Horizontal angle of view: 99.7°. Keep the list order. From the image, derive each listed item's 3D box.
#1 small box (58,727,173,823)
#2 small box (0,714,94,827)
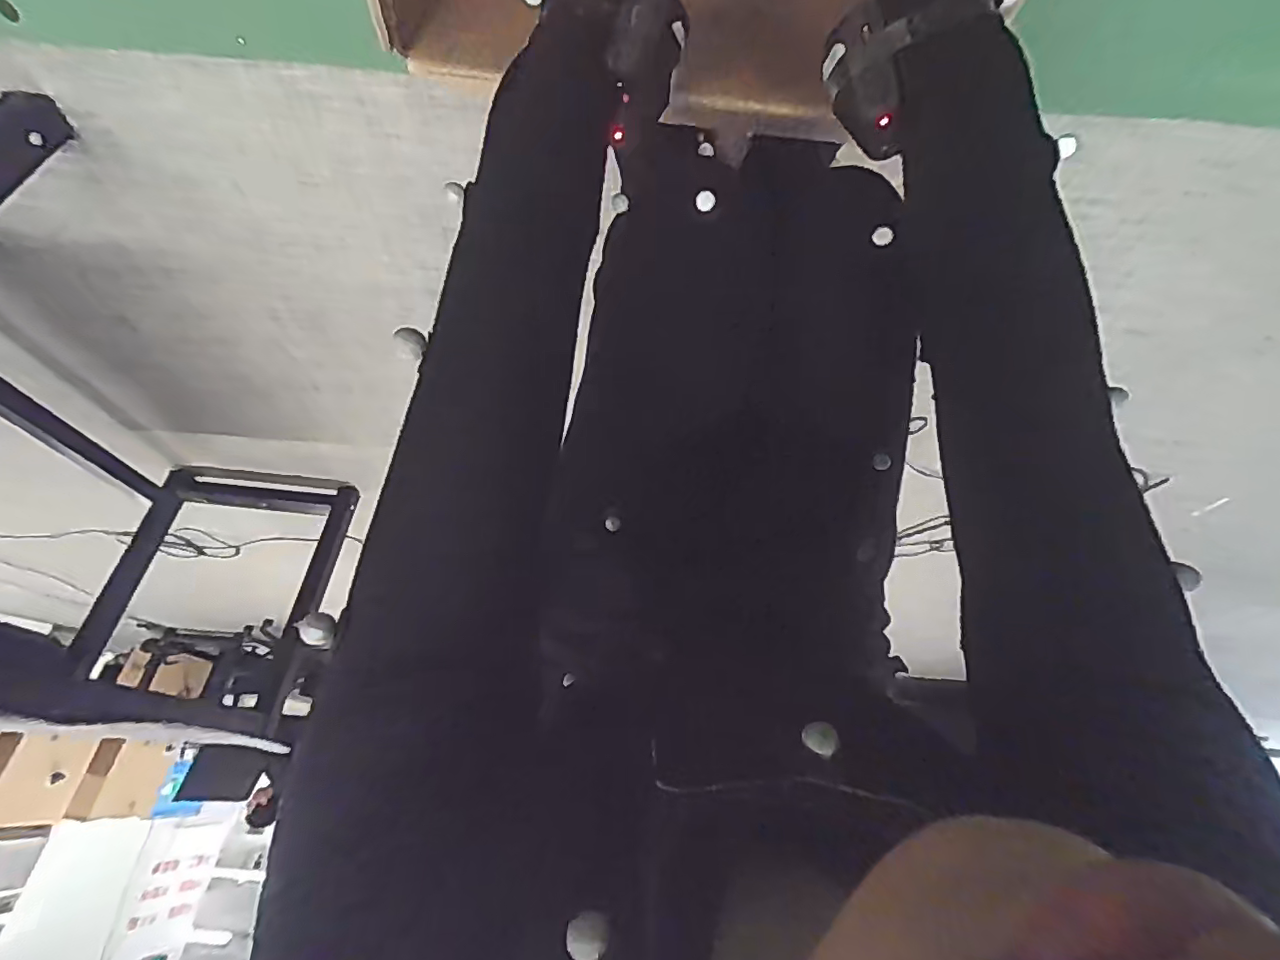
[{"bbox_3d":[-1.179,0.638,1.181,0.179,0.176,0.168,5,150,3],"label":"small box"},{"bbox_3d":[-1.159,0.520,0.978,0.179,0.176,0.168,6,150,0],"label":"small box"}]
